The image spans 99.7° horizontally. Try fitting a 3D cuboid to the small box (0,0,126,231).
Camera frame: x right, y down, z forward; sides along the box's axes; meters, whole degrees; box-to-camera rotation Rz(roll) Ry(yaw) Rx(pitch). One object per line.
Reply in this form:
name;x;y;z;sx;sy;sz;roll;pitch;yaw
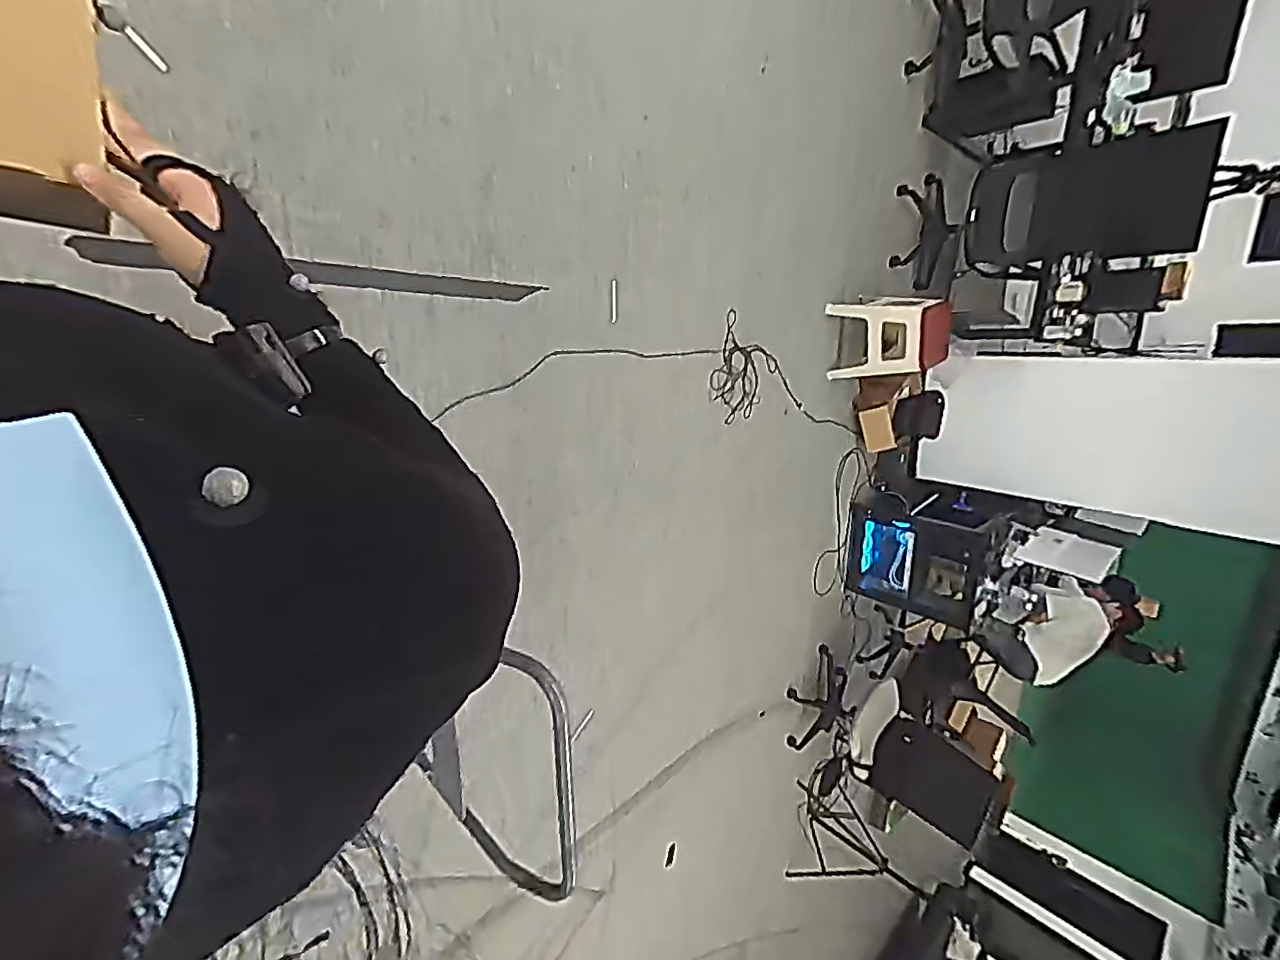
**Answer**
small box;-0.463;-0.287;0.358;0.168;0.176;0.179;-6;103;-44
